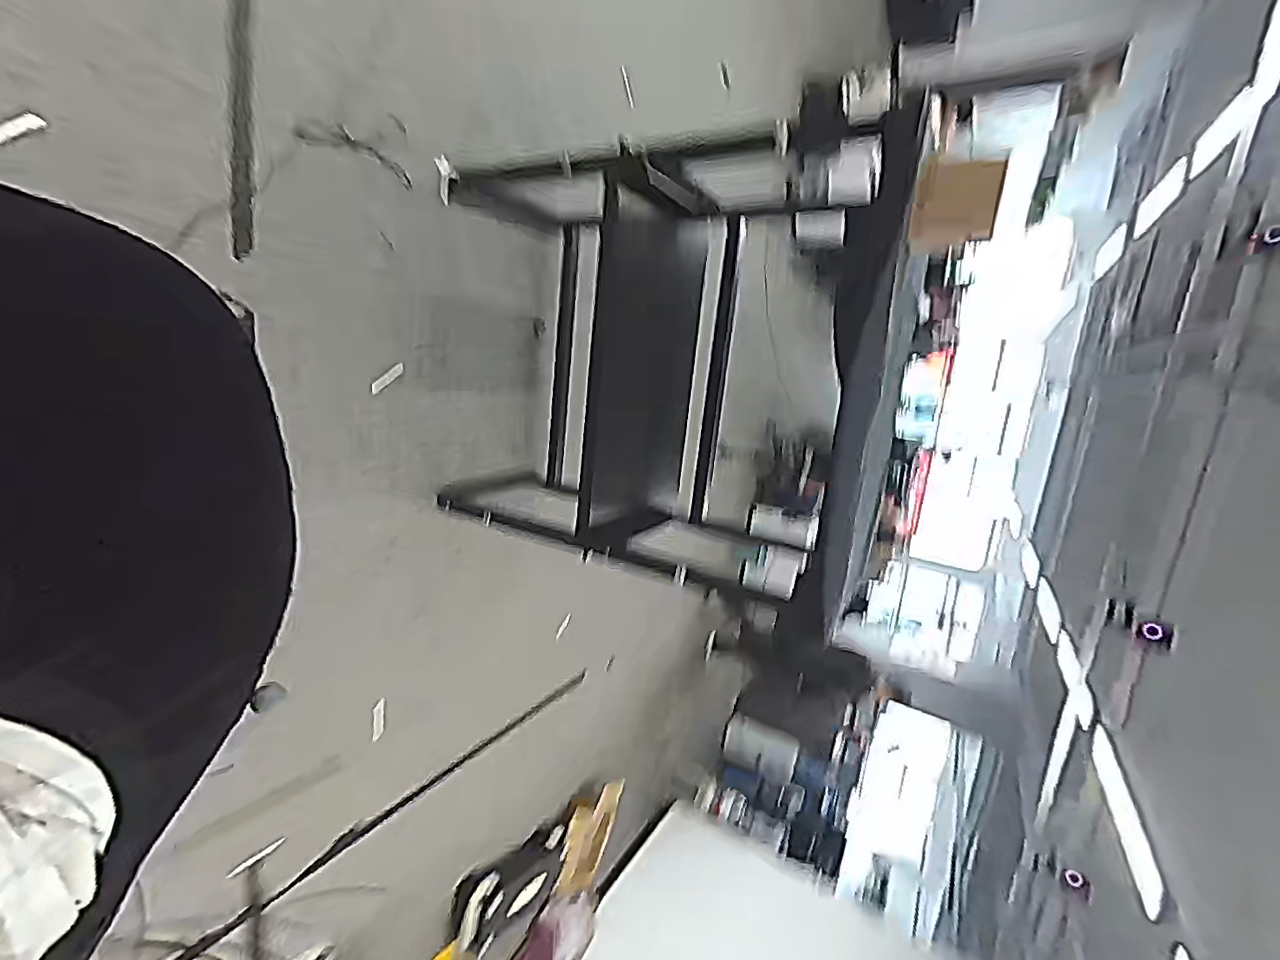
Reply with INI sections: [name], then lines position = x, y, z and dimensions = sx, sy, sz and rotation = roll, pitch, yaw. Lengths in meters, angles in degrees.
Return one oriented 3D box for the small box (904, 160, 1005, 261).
[small box]
position = 0.704, -0.595, 1.220
dimensions = 0.179, 0.176, 0.168
rotation = -15, 115, -58
